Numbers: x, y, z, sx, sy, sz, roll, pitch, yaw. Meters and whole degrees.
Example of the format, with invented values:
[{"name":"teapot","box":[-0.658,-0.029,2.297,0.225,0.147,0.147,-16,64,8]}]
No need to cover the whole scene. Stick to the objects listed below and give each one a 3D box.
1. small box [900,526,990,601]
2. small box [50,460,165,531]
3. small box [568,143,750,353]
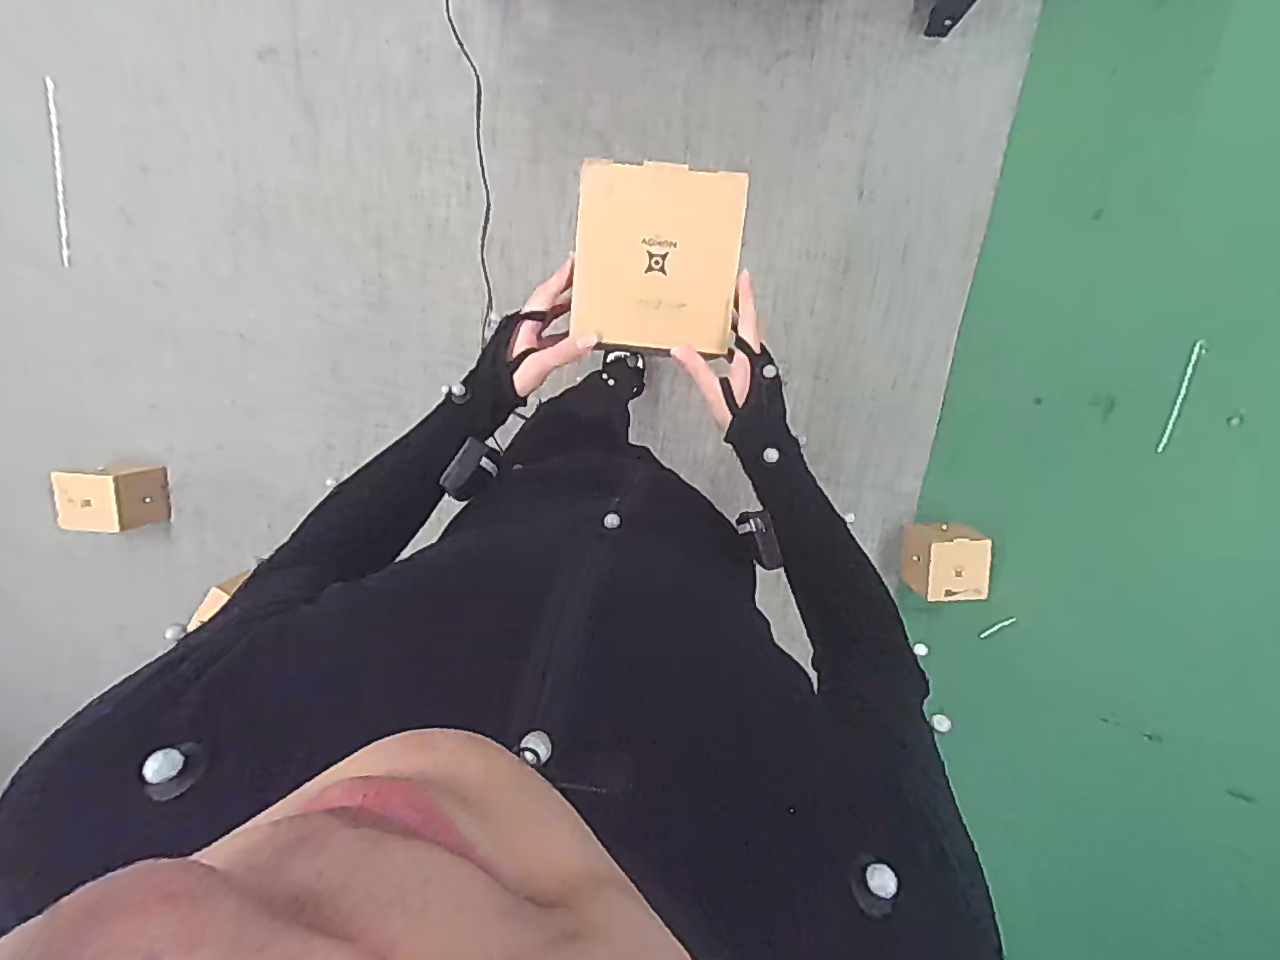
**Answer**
[{"name":"small box","box":[0.866,0.232,1.551,0.168,0.176,0.179,-2,101,2]},{"name":"small box","box":[-1.531,0.039,1.570,0.179,0.176,0.168,5,101,0]},{"name":"small box","box":[0.018,-0.245,0.613,0.168,0.176,0.179,6,101,0]}]
